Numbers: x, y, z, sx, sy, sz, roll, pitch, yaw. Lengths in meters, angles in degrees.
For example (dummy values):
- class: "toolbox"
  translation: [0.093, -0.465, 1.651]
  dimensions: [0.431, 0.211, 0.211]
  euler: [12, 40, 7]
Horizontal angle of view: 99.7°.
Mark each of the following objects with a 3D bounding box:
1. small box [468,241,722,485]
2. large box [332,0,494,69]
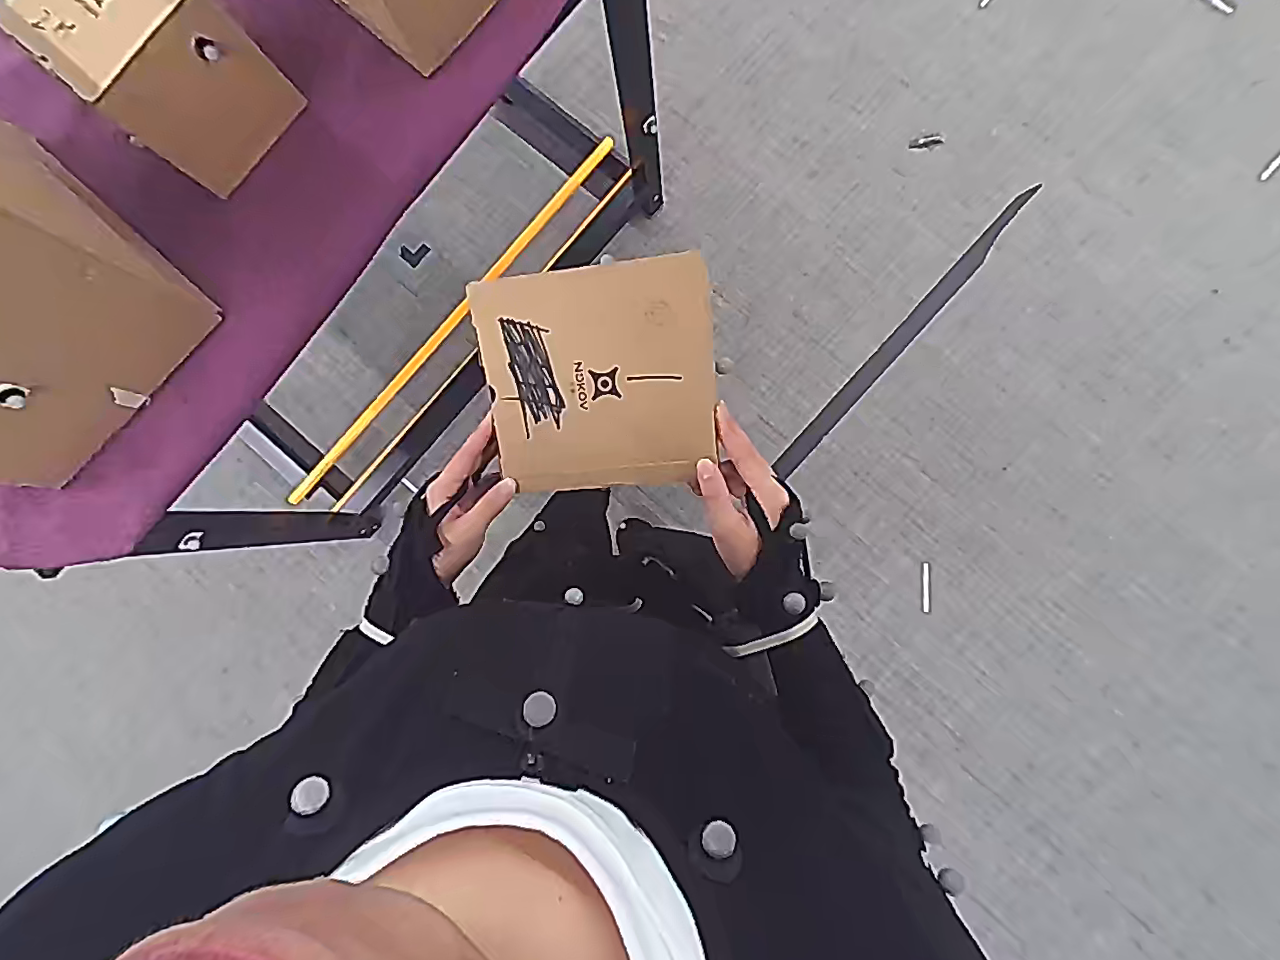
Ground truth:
- class: "small box"
  translation: [-0.021, -0.099, 0.472]
  dimensions: [0.179, 0.176, 0.168]
  euler: [-4, 105, 9]
- class: "large box"
  translation: [-0.336, -0.770, 0.573]
  dimensions: [0.408, 0.320, 0.320]
  euler: [40, 89, 7]
